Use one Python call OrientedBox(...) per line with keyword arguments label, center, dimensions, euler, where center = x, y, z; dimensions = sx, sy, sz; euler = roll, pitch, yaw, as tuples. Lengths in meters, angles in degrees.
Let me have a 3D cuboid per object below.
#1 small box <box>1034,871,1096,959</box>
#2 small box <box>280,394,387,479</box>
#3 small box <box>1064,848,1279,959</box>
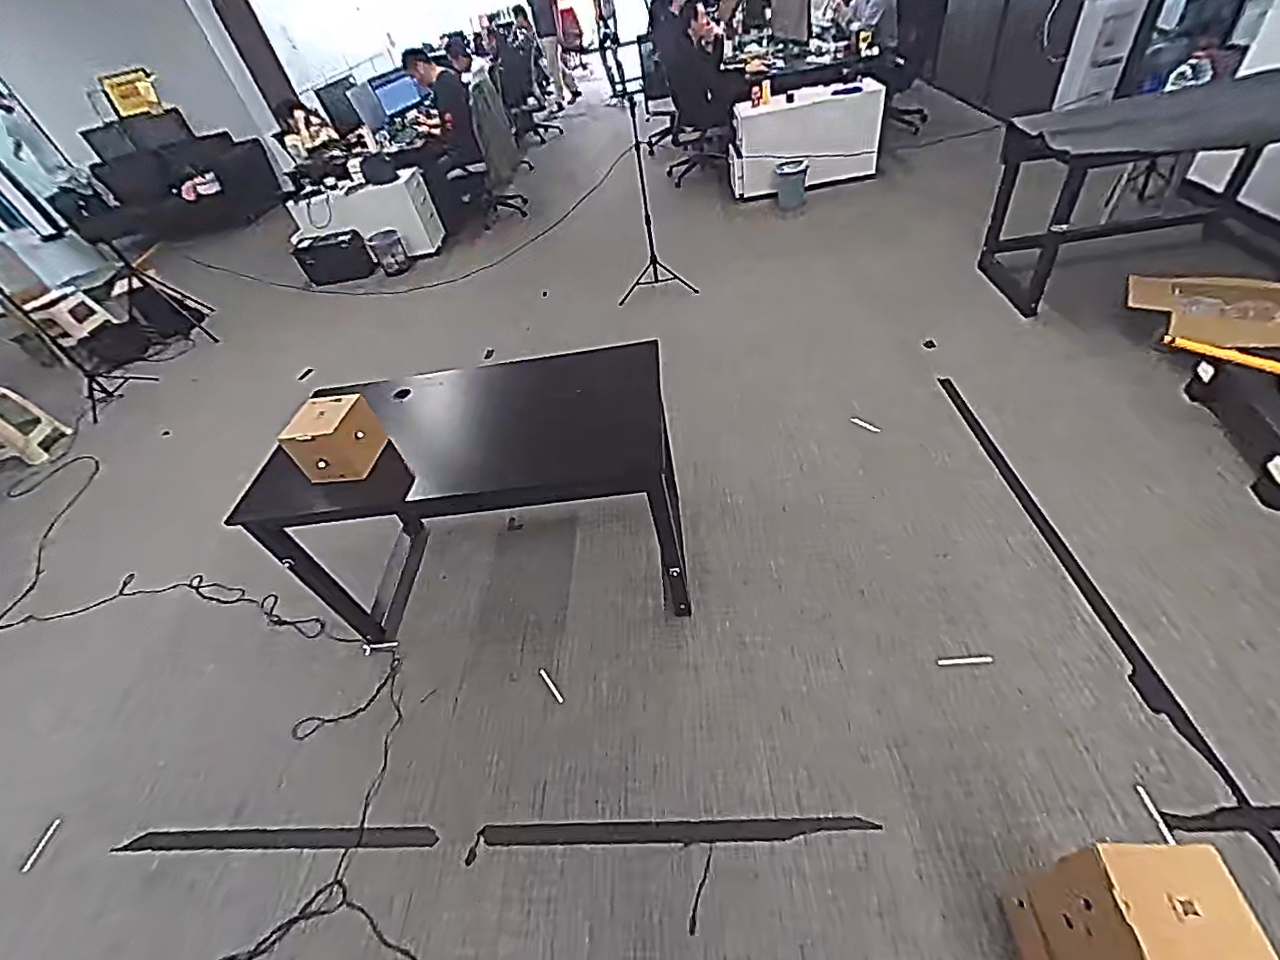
OrientedBox(label="small box", center=(0.858, 0.825, 0.974), dimensions=(0.168, 0.176, 0.179), euler=(-6, 46, 7))
OrientedBox(label="small box", center=(-0.840, -0.113, 1.504), dimensions=(0.168, 0.176, 0.179), euler=(-4, 46, 10))
OrientedBox(label="small box", center=(0.838, 0.705, 0.866), dimensions=(0.179, 0.176, 0.168), euler=(-5, 46, 9))
